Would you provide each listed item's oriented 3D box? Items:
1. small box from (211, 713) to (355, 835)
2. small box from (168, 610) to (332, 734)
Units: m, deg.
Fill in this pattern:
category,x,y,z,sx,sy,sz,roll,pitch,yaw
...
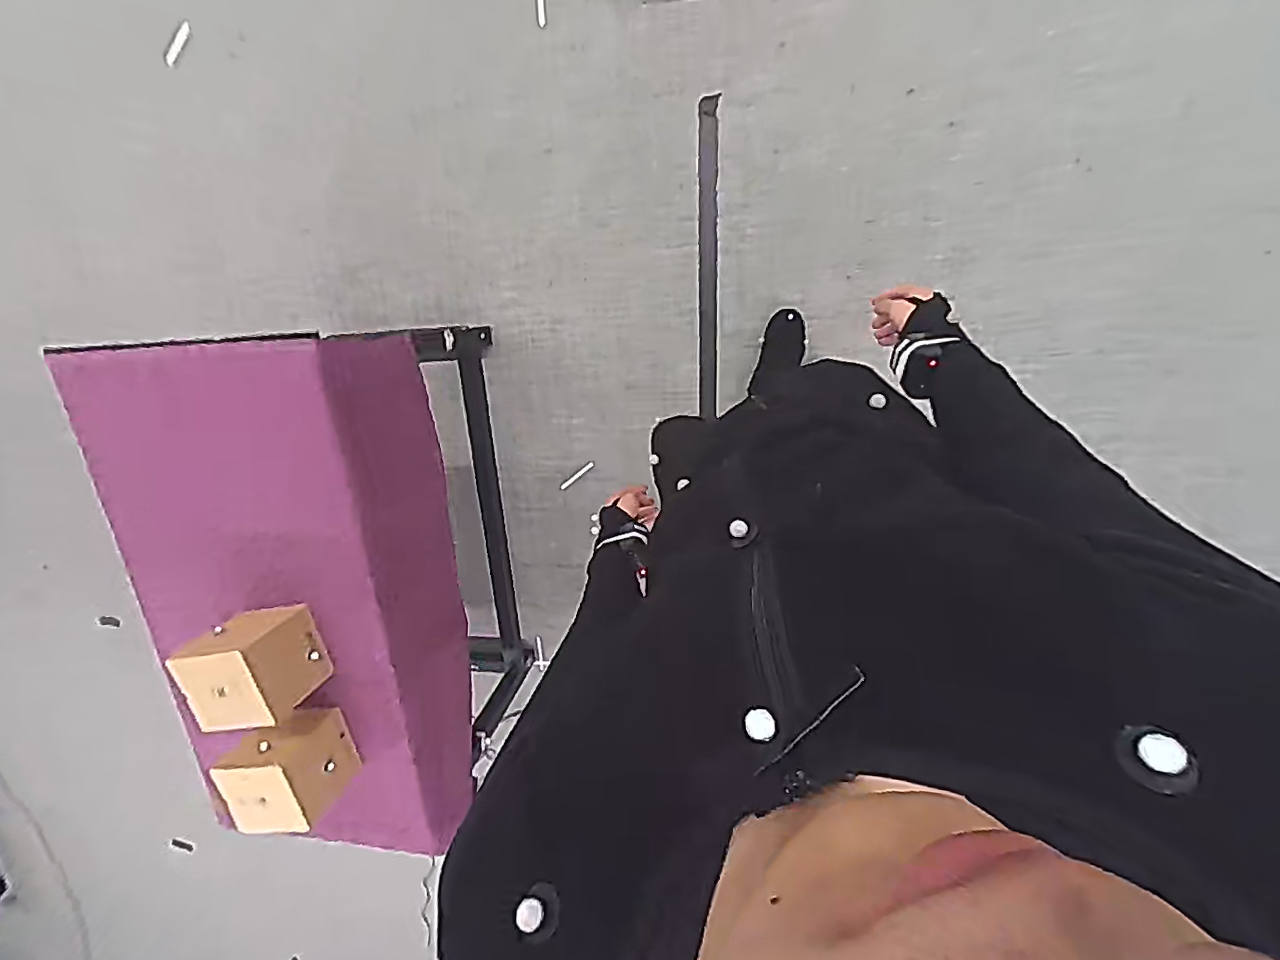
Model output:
category,x,y,z,sx,sy,sz,roll,pitch,yaw
small box,-0.744,0.620,1.154,0.179,0.176,0.168,-9,105,13
small box,-0.769,0.379,1.083,0.179,0.176,0.168,-10,106,13
